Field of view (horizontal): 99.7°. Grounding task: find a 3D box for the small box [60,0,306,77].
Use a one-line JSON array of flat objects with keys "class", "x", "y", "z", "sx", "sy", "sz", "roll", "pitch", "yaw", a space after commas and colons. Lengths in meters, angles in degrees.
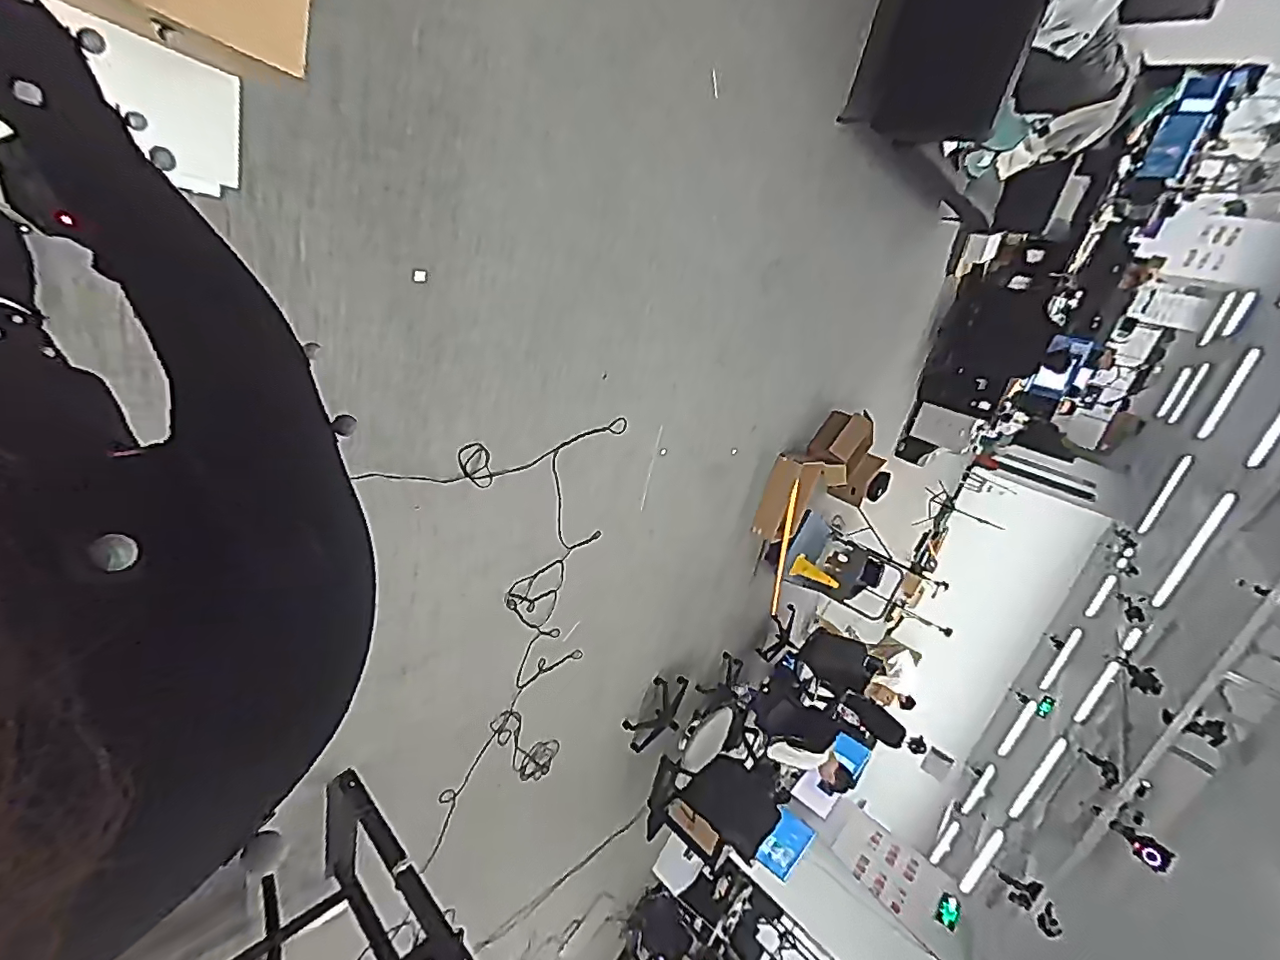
[{"class": "small box", "x": -0.439, "y": -0.510, "z": 0.509, "sx": 0.179, "sy": 0.176, "sz": 0.168, "roll": -5, "pitch": 117, "yaw": -51}]
